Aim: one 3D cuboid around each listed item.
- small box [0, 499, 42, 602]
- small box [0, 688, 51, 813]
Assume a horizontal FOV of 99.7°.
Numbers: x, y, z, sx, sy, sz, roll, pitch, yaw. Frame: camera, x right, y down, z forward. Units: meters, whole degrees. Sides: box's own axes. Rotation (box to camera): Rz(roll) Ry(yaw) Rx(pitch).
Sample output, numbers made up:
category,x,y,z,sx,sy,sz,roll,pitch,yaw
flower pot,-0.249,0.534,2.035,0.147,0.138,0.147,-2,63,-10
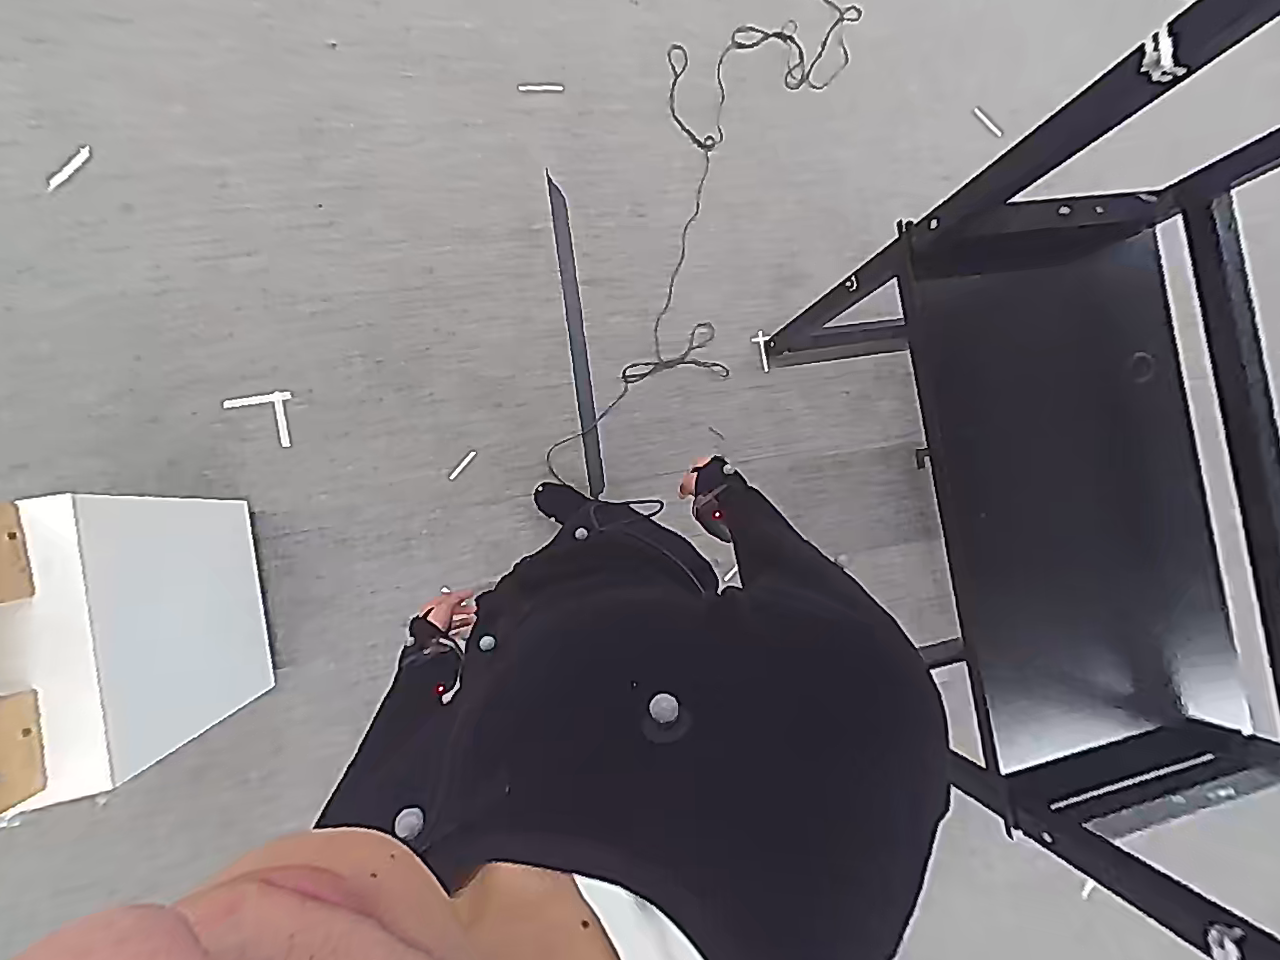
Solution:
category,x,y,z,sx,sy,sz,roll,pitch,yaw
small box,-1.084,0.123,0.811,0.179,0.176,0.168,-12,91,-9
small box,-1.045,0.429,0.806,0.179,0.176,0.168,-9,88,-9
